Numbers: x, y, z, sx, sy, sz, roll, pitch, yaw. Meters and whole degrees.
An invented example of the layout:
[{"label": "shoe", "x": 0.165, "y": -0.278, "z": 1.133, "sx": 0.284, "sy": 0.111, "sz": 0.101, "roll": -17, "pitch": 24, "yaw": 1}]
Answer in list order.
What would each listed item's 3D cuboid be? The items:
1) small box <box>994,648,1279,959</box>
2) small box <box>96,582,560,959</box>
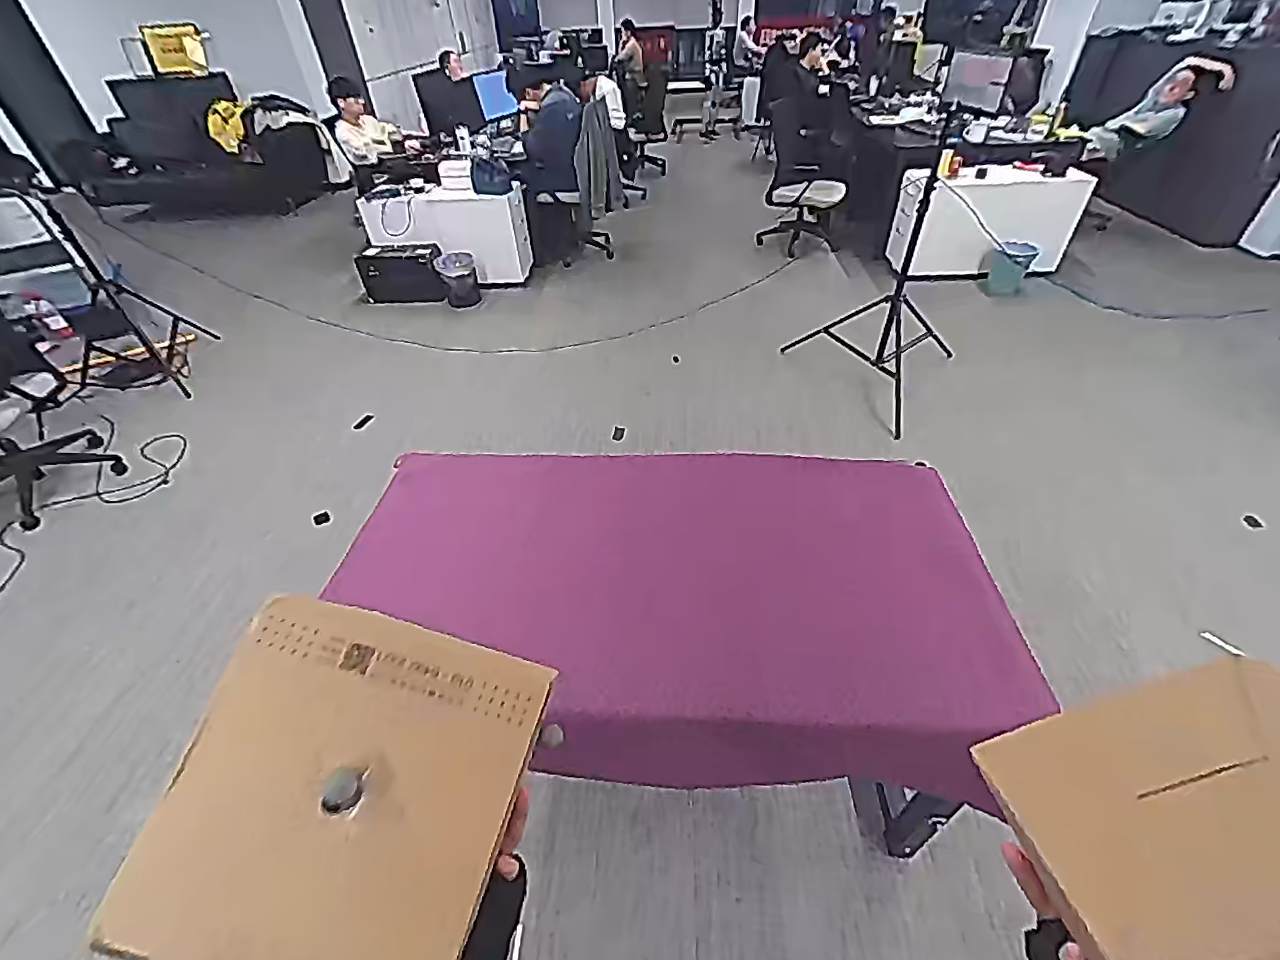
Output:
[{"label": "small box", "x": 0.307, "y": 0.206, "z": 0.249, "sx": 0.168, "sy": 0.176, "sz": 0.179, "roll": -27, "pitch": -4, "yaw": 14}, {"label": "small box", "x": -0.157, "y": 0.174, "z": 0.349, "sx": 0.168, "sy": 0.179, "sz": 0.176, "roll": 18, "pitch": 69, "yaw": -1}]
